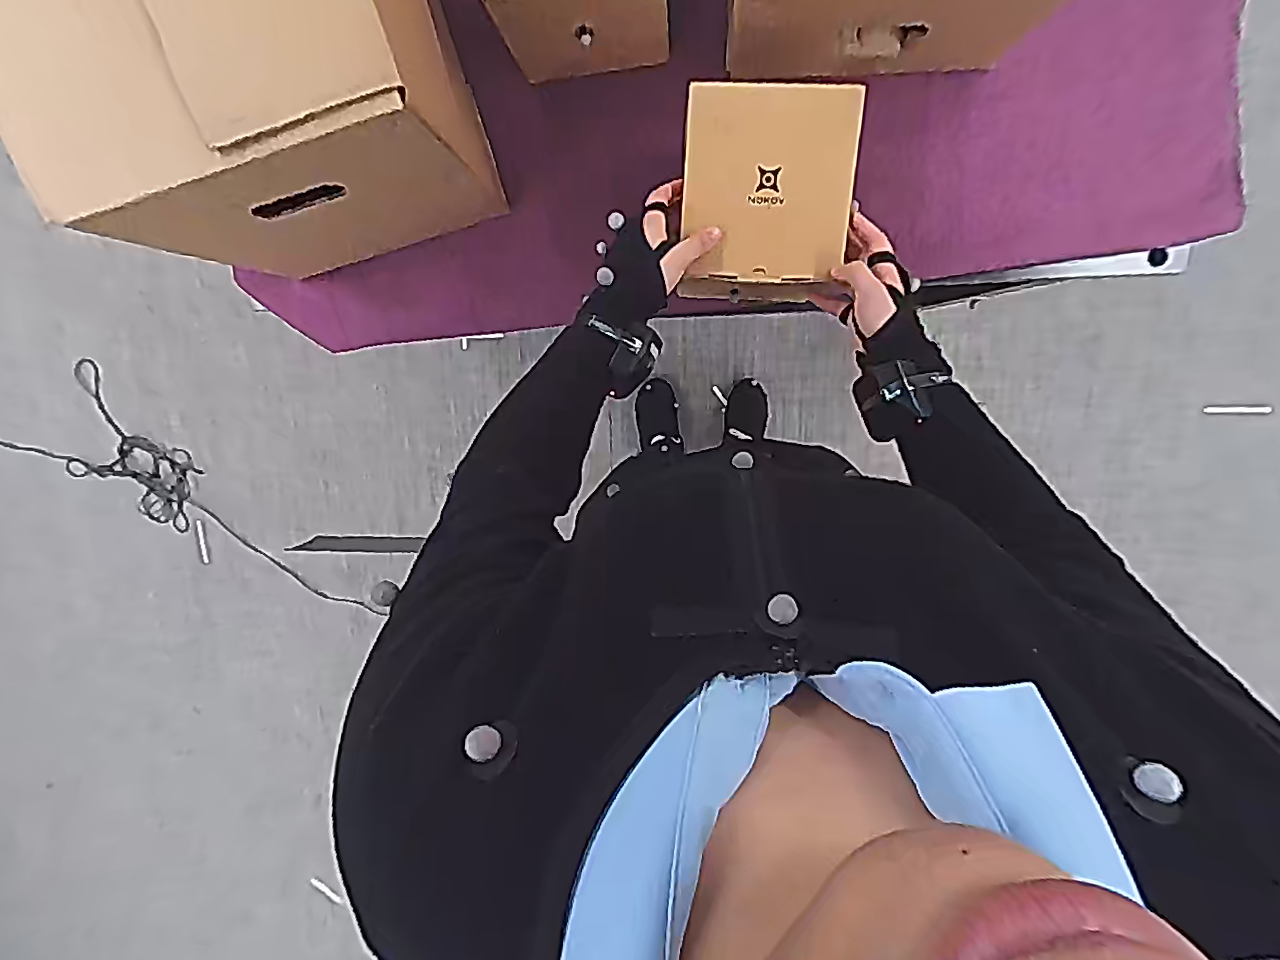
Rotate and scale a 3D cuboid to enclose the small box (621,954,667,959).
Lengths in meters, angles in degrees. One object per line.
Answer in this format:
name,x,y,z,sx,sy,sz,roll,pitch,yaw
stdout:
small box,0.016,1.747,1.822,0.168,0.176,0.179,-4,103,5
